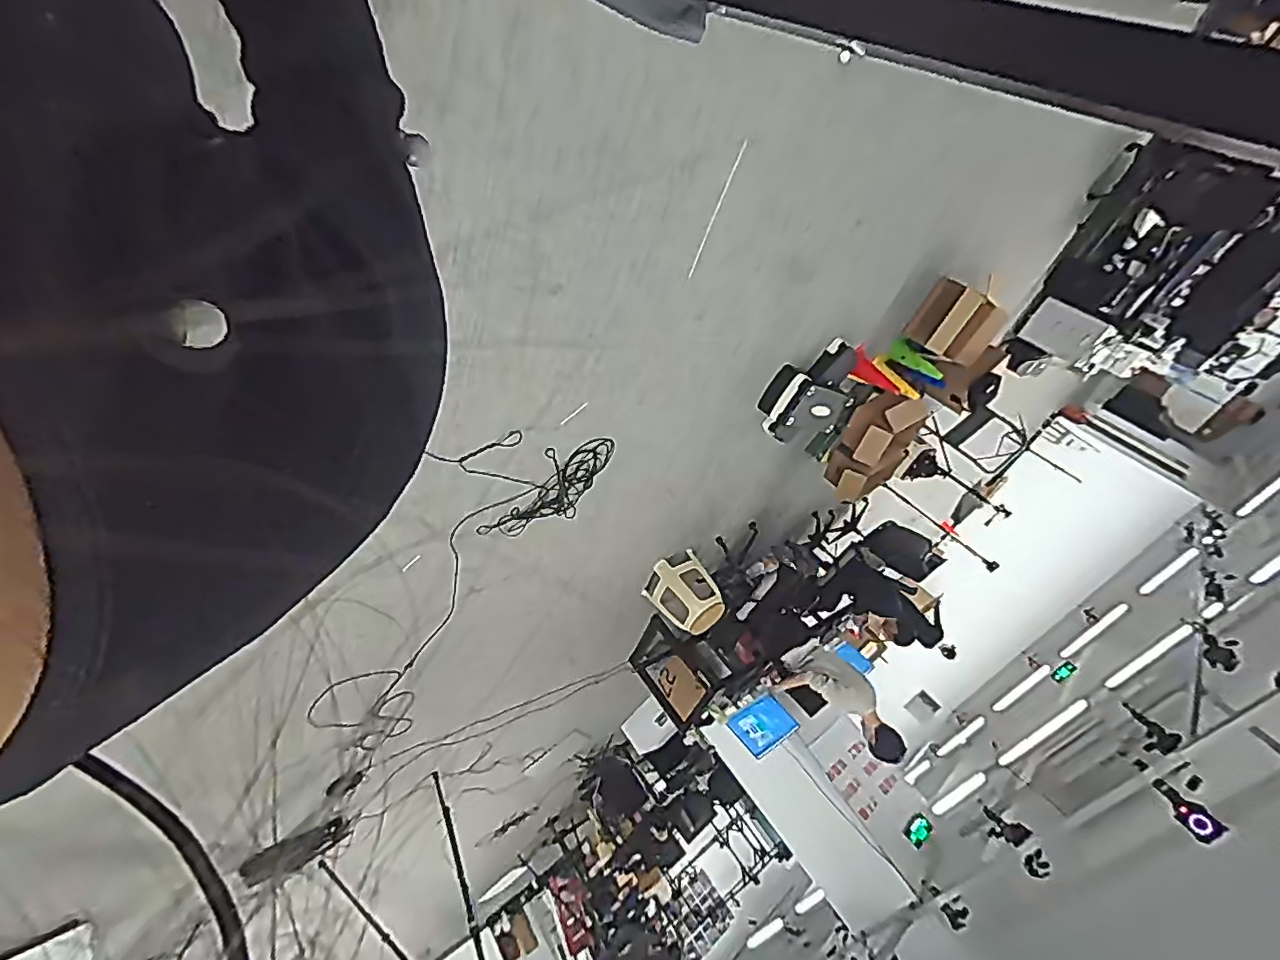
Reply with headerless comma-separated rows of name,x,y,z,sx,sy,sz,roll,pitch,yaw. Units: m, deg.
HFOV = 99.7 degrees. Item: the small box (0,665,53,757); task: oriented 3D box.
small box,-1.729,0.624,1.453,0.168,0.176,0.179,-15,139,-37
